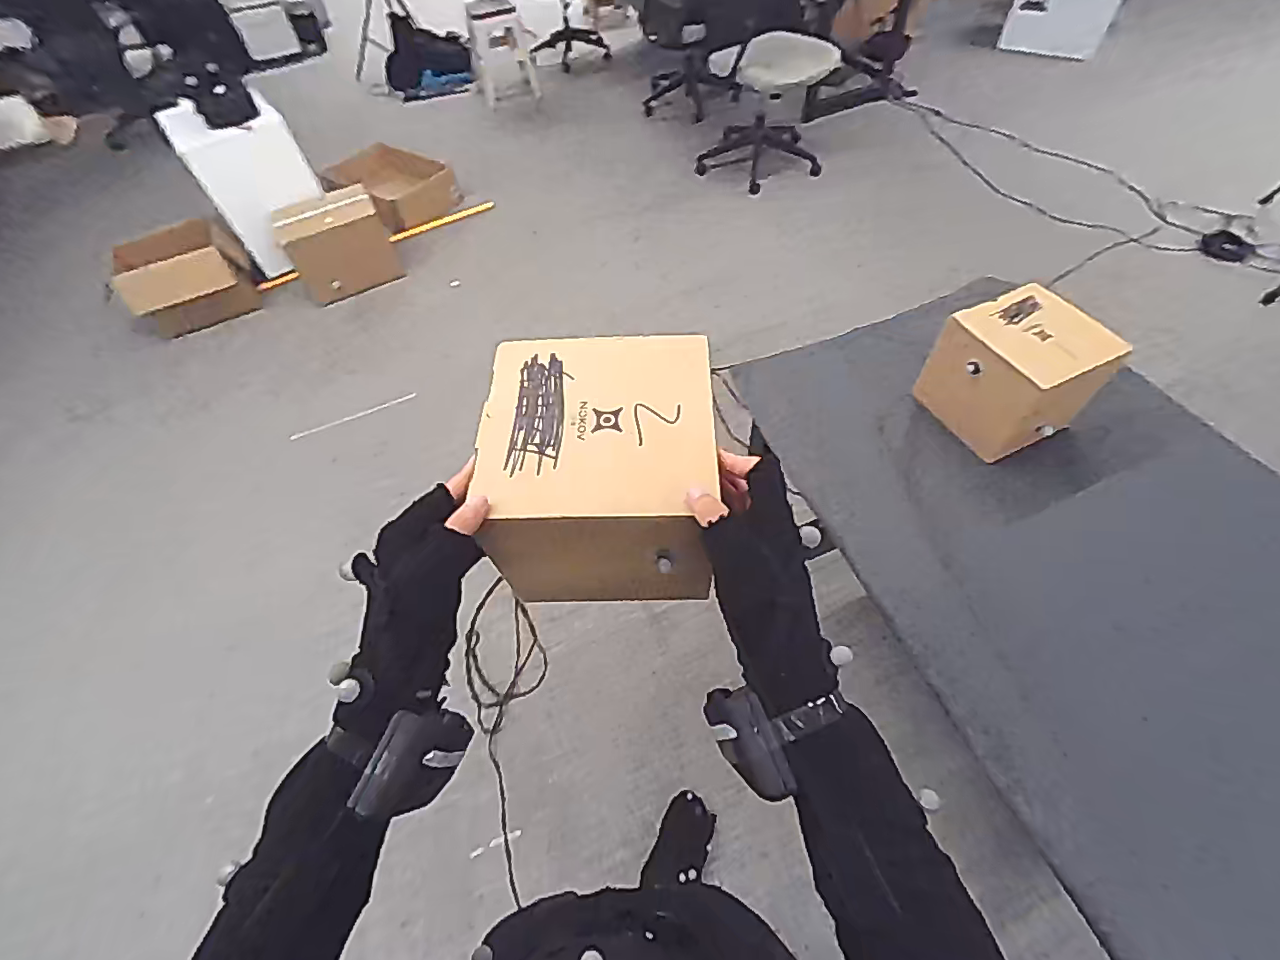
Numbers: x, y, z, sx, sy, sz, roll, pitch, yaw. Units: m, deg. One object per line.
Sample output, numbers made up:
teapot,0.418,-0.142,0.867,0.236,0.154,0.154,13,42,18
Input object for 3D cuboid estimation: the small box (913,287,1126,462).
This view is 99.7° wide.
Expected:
small box,0.564,-0.160,0.836,0.168,0.176,0.179,-23,57,-11
